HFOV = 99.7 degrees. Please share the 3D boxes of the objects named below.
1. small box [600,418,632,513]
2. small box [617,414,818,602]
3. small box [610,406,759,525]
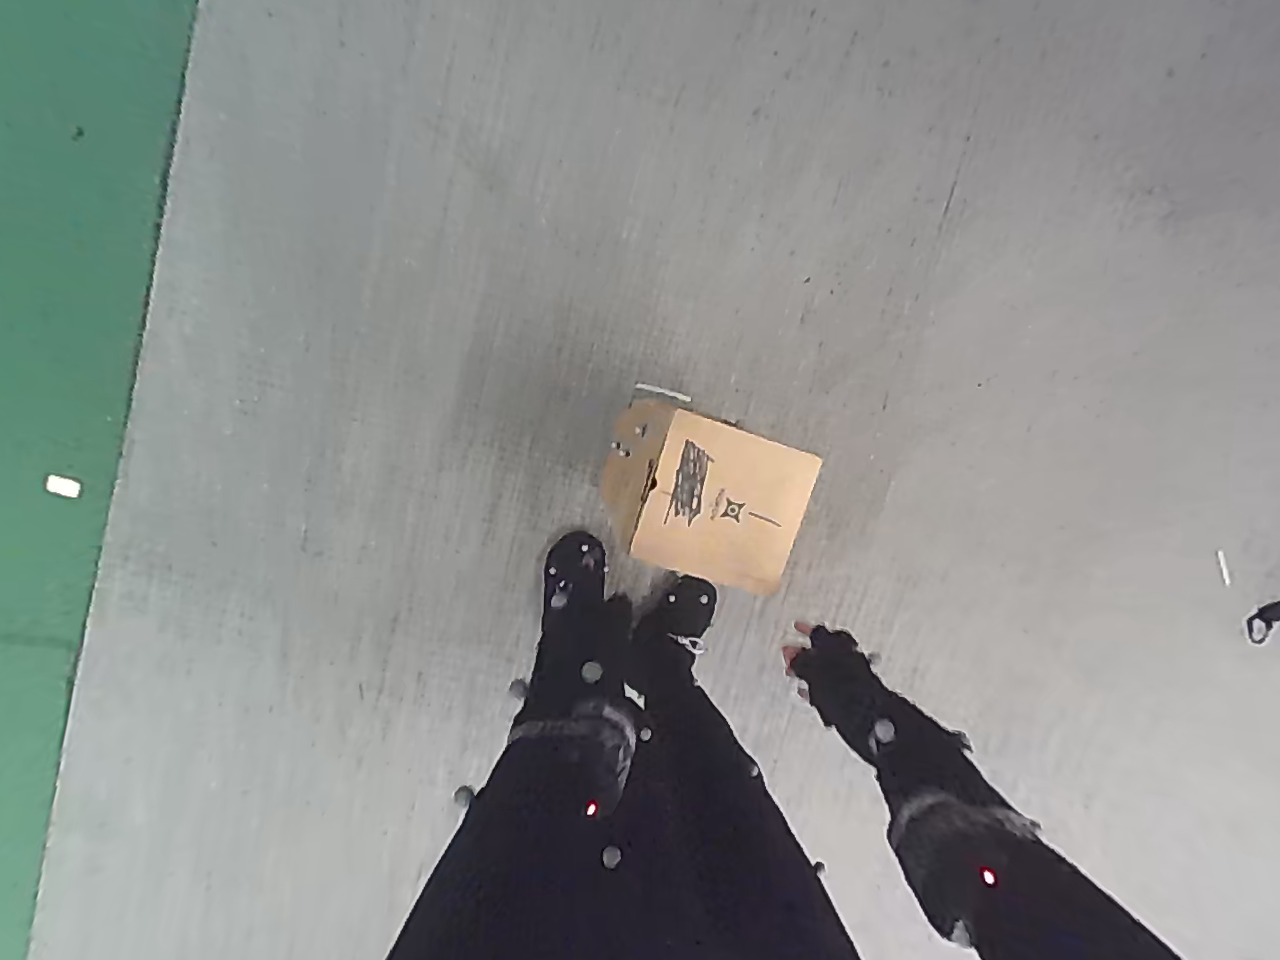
[{"bbox_3d":[0.035,-0.013,0.984,0.179,0.176,0.168,16,94,-10],"label":"small box"},{"bbox_3d":[0.079,0.026,0.661,0.179,0.176,0.168,18,94,-9],"label":"small box"},{"bbox_3d":[0.055,-0.006,0.822,0.168,0.176,0.179,16,96,-9],"label":"small box"}]
